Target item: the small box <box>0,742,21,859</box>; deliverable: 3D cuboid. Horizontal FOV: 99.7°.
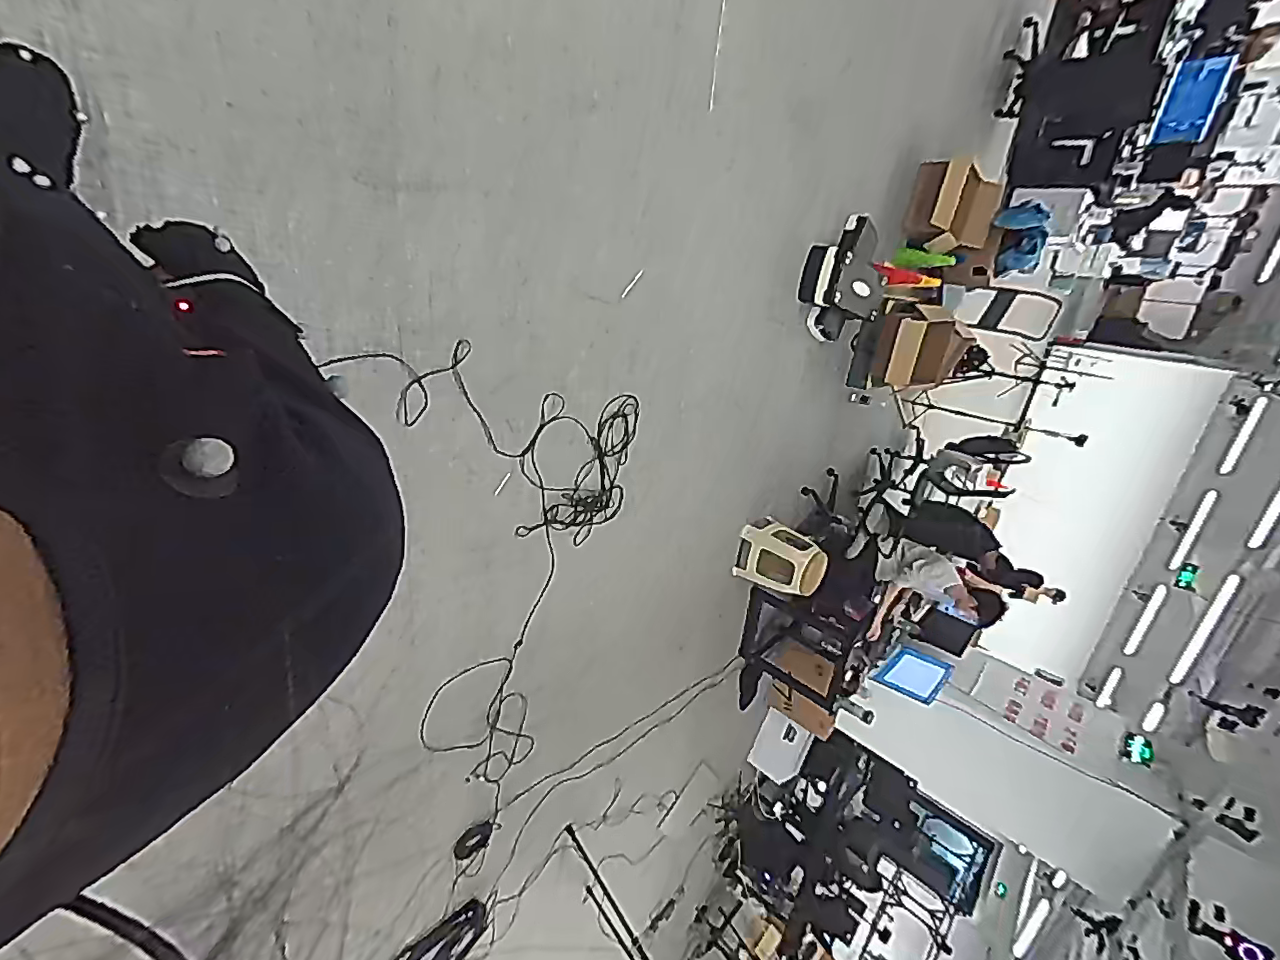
[{"bbox_3d":[-1.357,0.656,1.062,0.168,0.176,0.179,-14,118,-46],"label":"small box"}]
